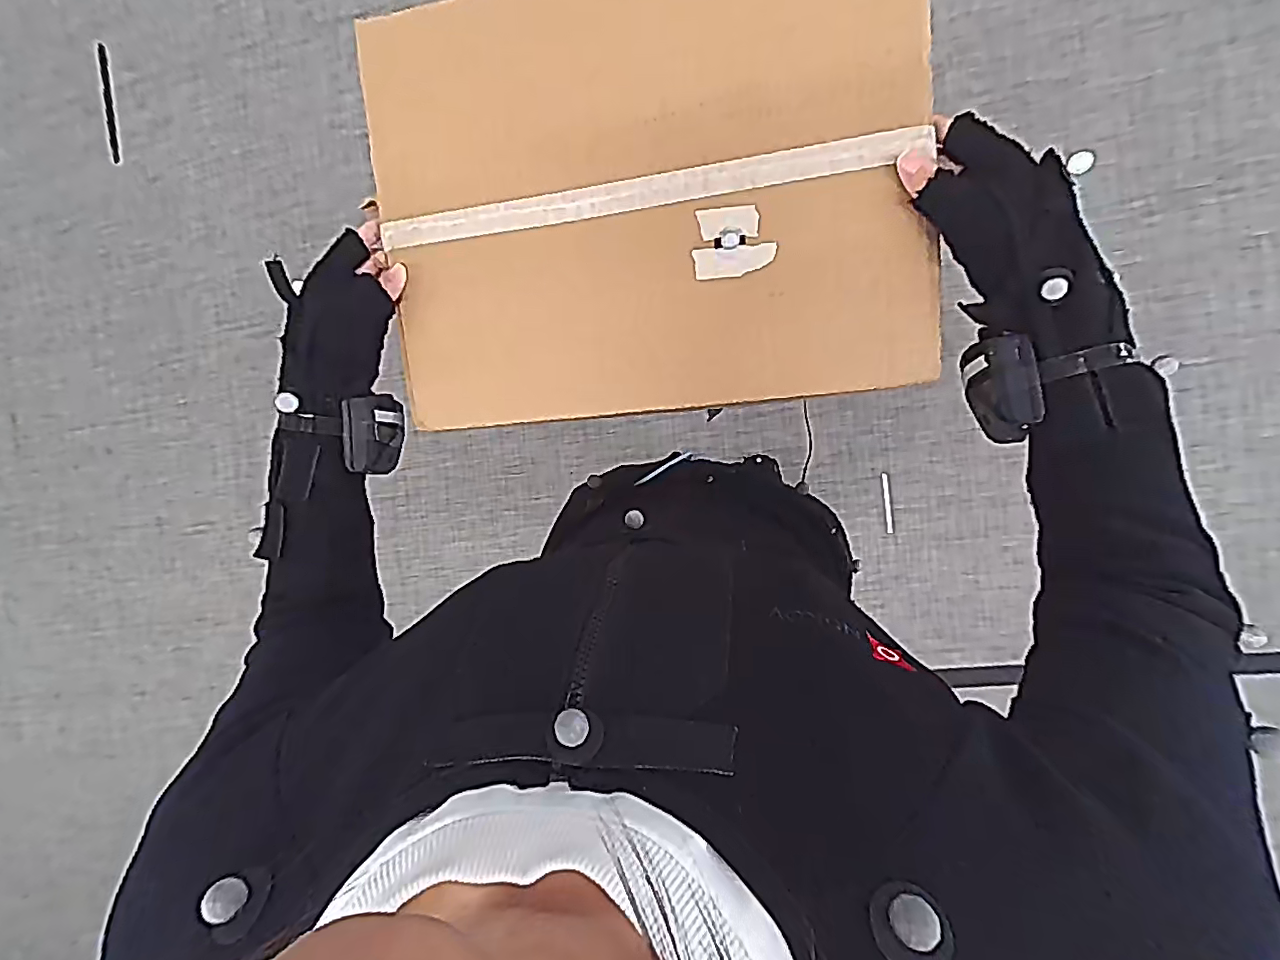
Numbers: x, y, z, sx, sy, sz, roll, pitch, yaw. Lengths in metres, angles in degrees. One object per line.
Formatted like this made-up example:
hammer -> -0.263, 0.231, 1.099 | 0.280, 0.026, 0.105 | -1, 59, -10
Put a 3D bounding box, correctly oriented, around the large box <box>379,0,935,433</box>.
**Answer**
large box -> 0.025, -0.228, 0.554 | 0.408, 0.320, 0.320 | -5, 97, 10
